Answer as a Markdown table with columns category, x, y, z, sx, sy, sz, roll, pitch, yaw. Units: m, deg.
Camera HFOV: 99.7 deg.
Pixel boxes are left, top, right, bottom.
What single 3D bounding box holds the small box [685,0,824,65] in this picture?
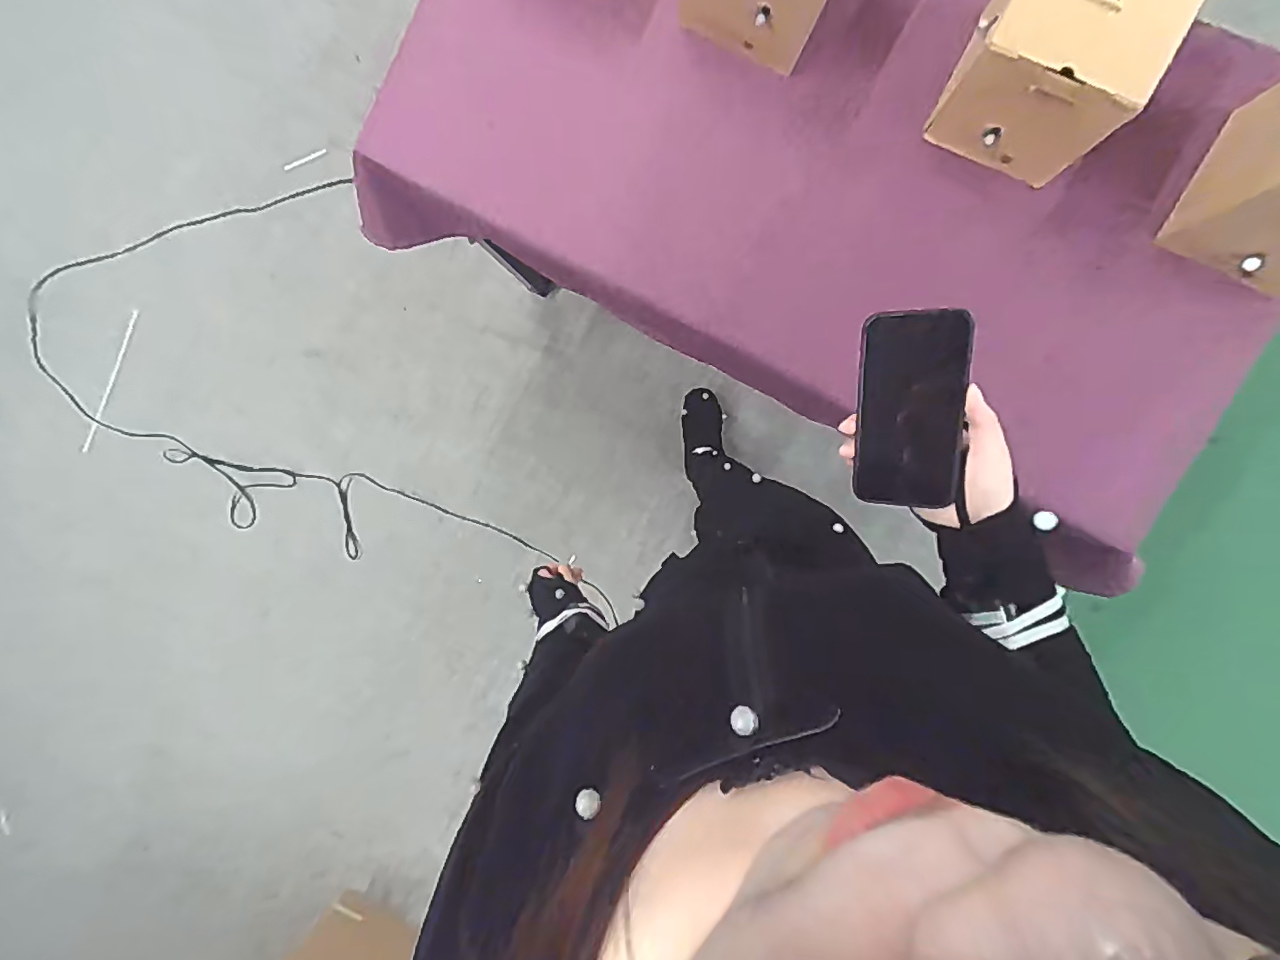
| category | x | y | z | sx | sy | sz | roll | pitch | yaw |
| --- | --- | --- | --- | --- | --- | --- | --- | --- | --- |
| small box | 0.154 | -0.642 | 0.626 | 0.168 | 0.176 | 0.179 | 28 | 97 | 3 |

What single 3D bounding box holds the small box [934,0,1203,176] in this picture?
| category | x | y | z | sx | sy | sz | roll | pitch | yaw |
| --- | --- | --- | --- | --- | --- | --- | --- | --- | --- |
| small box | 0.467 | -0.487 | 0.602 | 0.168 | 0.176 | 0.179 | 26 | 97 | 4 |

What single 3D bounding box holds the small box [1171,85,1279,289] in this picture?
| category | x | y | z | sx | sy | sz | roll | pitch | yaw |
| --- | --- | --- | --- | --- | --- | --- | --- | --- | --- |
| small box | 0.746 | -0.336 | 0.576 | 0.168 | 0.176 | 0.179 | 29 | 97 | 5 |
